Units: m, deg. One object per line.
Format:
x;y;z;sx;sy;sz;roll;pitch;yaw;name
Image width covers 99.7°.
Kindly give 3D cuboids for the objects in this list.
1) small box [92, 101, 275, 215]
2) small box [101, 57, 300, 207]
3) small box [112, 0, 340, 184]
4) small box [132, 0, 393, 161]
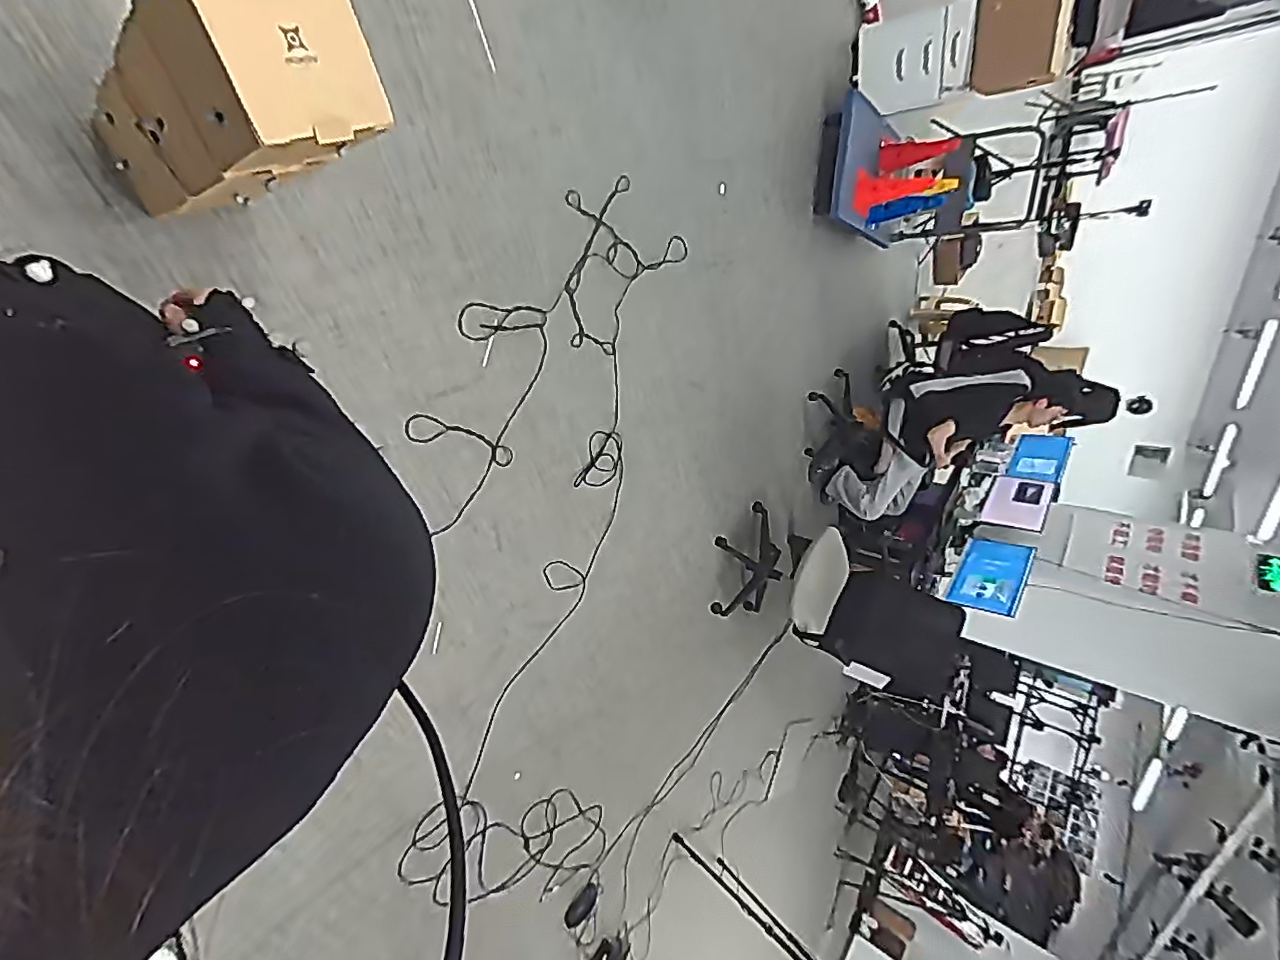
-0.797;-0.579;0.947;0.179;0.176;0.168;-40;128;-37;small box
-0.681;-0.539;0.839;0.179;0.176;0.168;-42;130;-36;small box
-0.556;-0.515;0.734;0.168;0.176;0.179;-41;130;-37;small box
-0.434;-0.490;0.631;0.168;0.176;0.179;-41;129;-36;small box
